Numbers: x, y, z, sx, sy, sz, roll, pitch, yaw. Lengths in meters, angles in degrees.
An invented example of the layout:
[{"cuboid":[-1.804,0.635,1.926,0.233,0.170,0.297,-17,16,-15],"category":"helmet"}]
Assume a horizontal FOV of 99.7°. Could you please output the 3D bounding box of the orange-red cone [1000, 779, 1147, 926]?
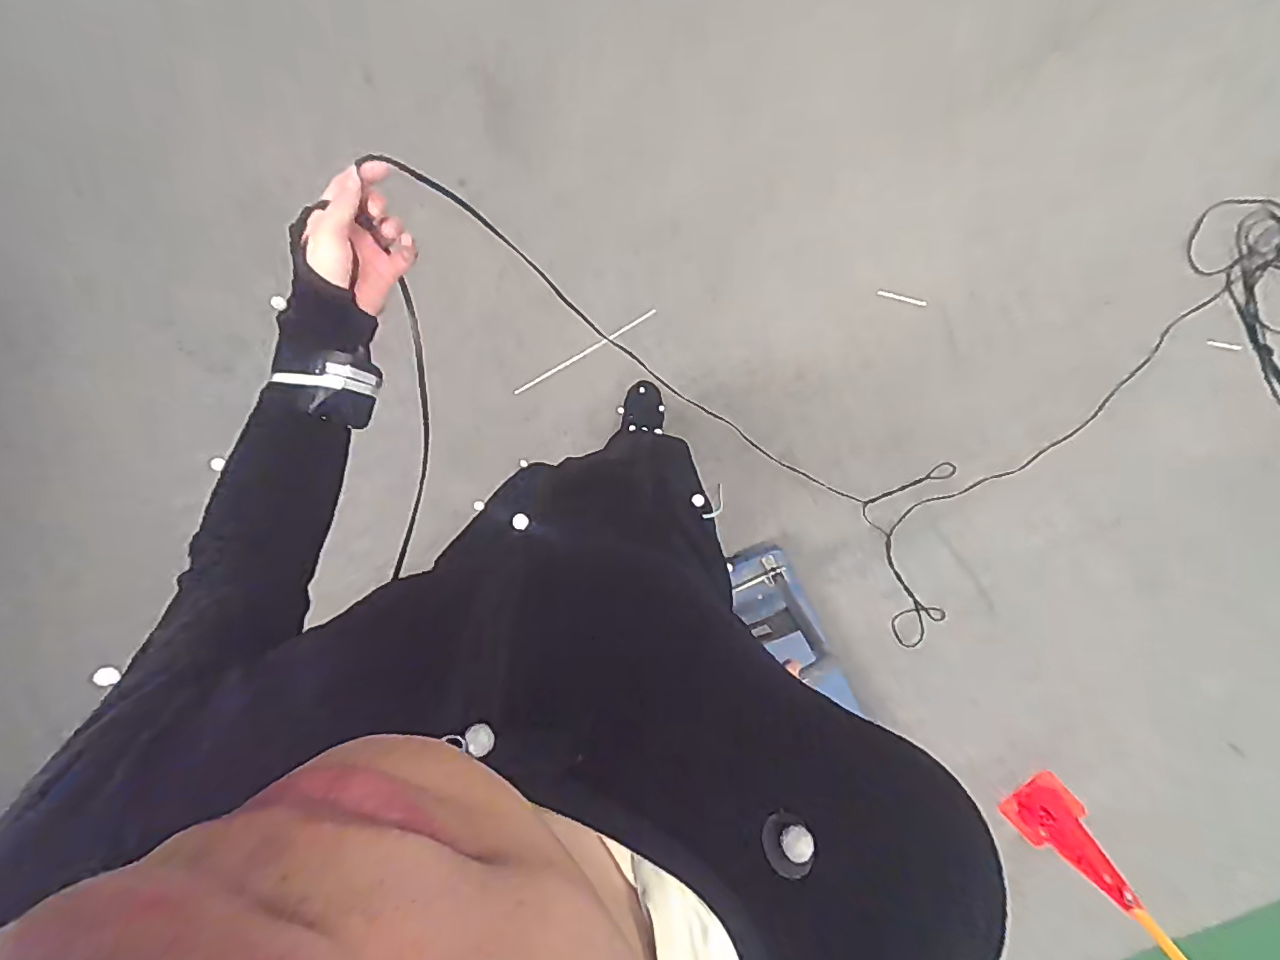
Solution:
[{"cuboid":[1.238,1.062,1.506,0.199,0.360,0.198,-43,94,6],"category":"orange-red cone"}]
